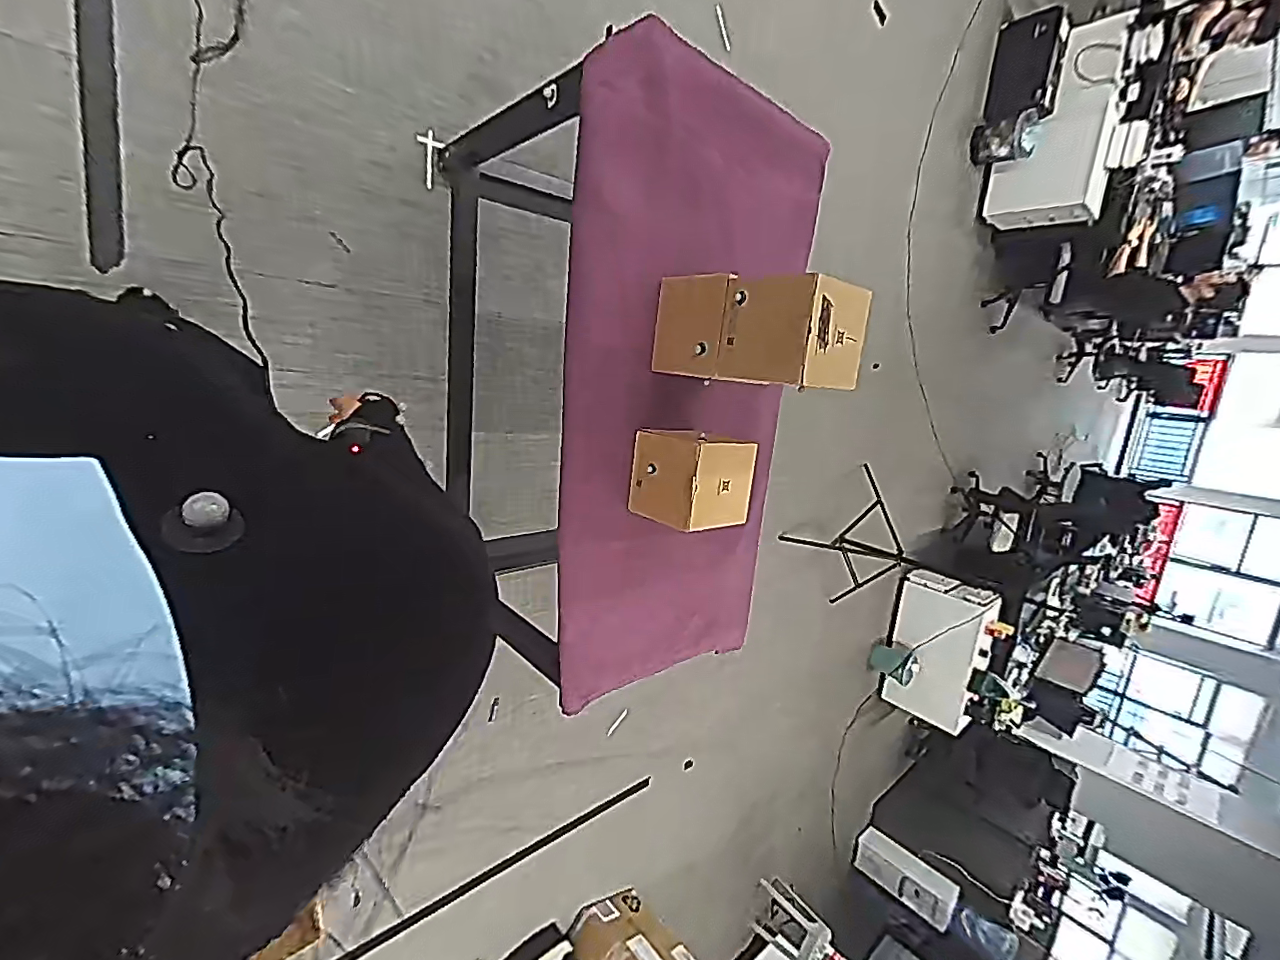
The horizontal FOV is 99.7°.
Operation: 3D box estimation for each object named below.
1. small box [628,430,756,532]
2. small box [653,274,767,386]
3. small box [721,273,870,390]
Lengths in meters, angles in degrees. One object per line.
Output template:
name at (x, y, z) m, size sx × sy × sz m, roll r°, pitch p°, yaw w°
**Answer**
small box at (0.101, -0.006, 1.075) m, size 0.179 × 0.176 × 0.168 m, roll -3°, pitch 105°, yaw -43°
small box at (0.144, -0.282, 1.029) m, size 0.168 × 0.176 × 0.179 m, roll -3°, pitch 105°, yaw -43°
small box at (0.258, -0.246, 0.917) m, size 0.179 × 0.176 × 0.168 m, roll -6°, pitch 107°, yaw -42°
